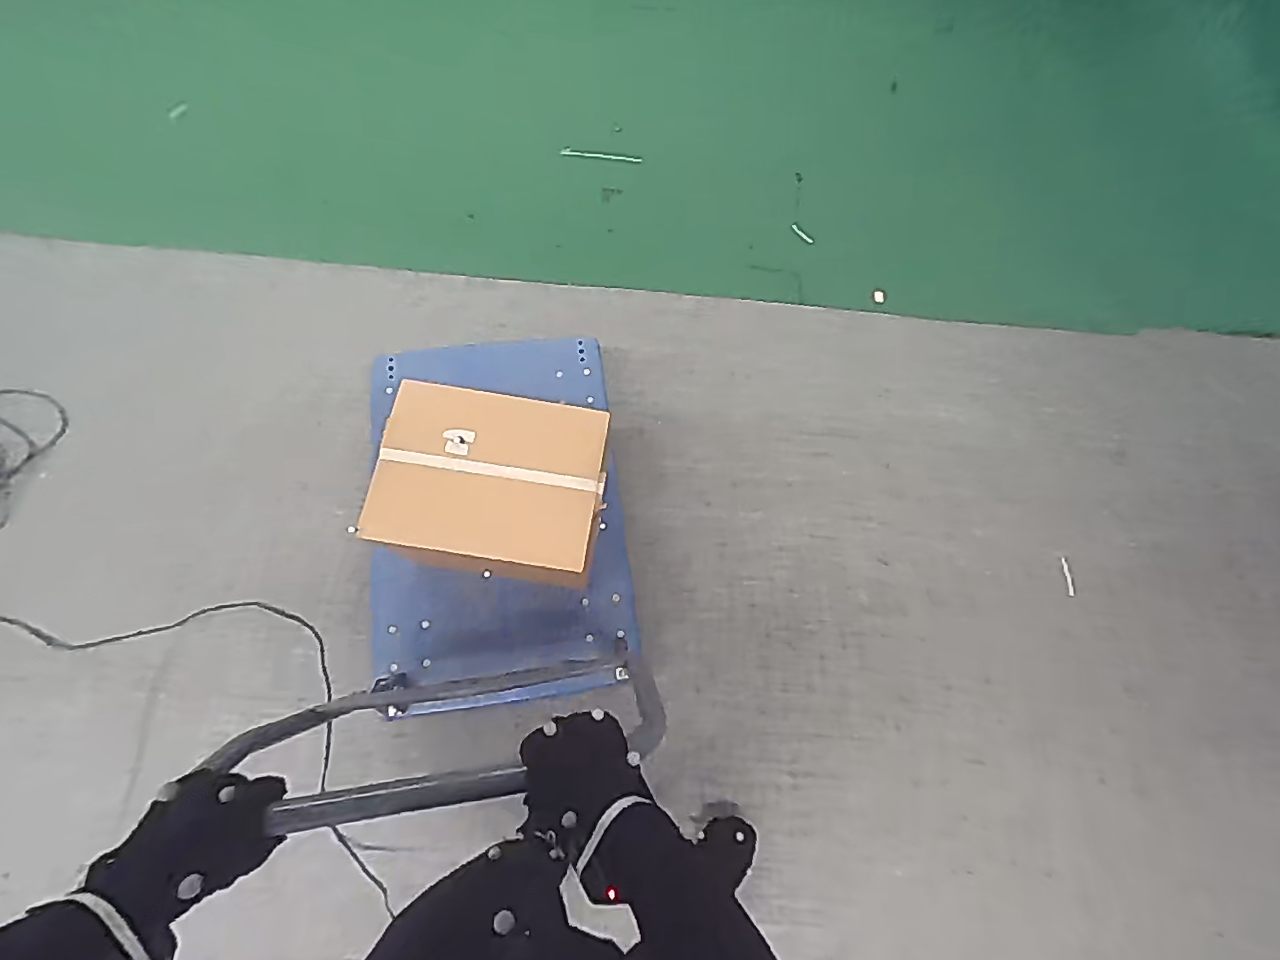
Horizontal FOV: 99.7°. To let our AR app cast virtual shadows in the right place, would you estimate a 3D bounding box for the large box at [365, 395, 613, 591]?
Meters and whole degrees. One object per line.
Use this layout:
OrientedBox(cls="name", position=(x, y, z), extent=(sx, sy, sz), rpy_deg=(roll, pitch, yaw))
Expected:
OrientedBox(cls="large box", position=(-0.273, 0.046, 1.132), extent=(0.408, 0.320, 0.320), rpy_deg=(8, 72, 0))
